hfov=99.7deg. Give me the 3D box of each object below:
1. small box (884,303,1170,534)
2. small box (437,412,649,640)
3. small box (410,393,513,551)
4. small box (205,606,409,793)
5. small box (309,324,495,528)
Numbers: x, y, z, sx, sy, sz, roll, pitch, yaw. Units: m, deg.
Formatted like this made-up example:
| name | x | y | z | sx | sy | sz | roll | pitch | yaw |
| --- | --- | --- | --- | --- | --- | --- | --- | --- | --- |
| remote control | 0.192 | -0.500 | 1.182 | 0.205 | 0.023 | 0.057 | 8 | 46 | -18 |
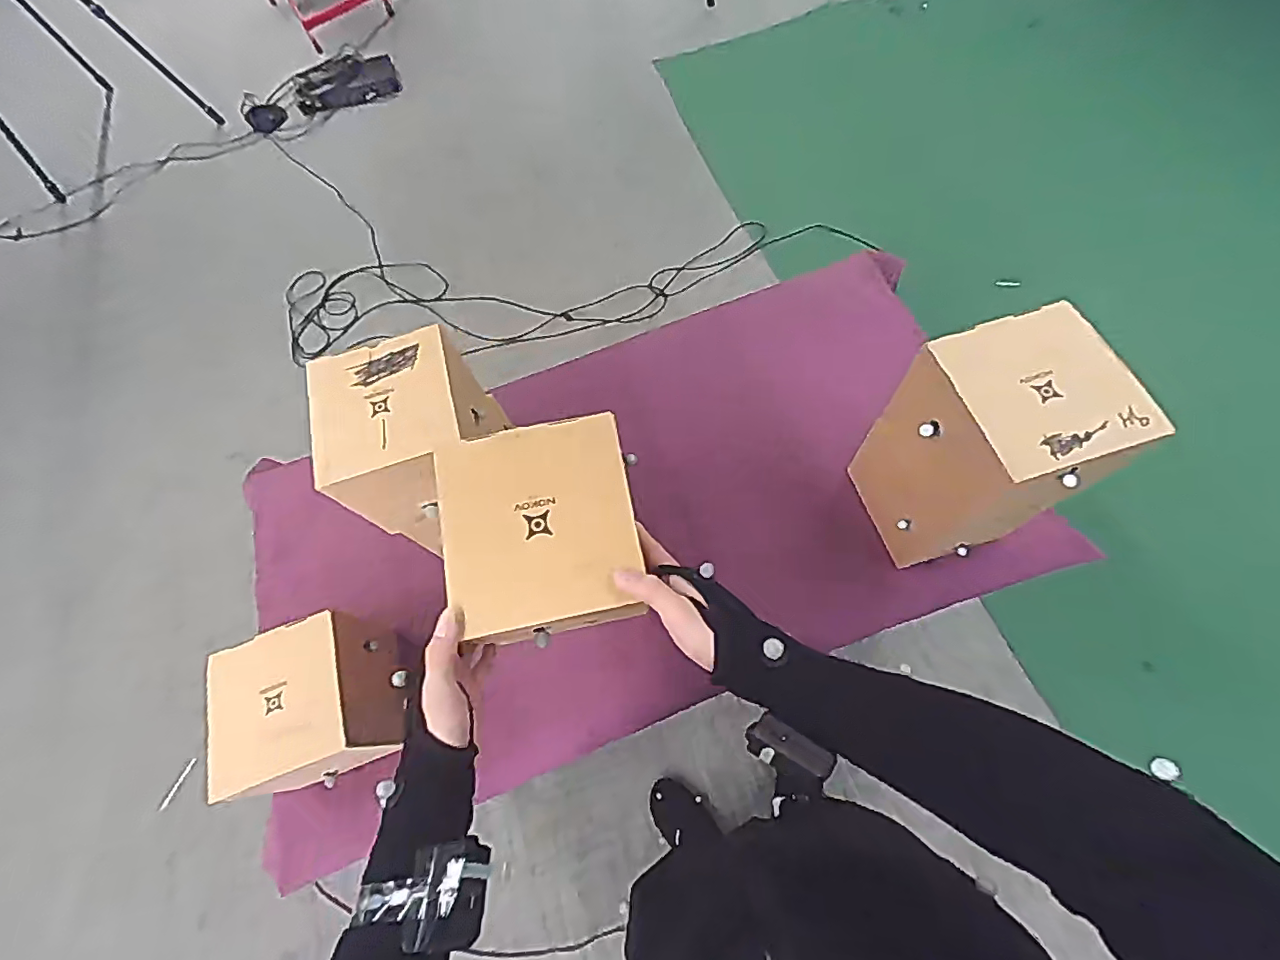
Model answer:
| name | x | y | z | sx | sy | sz | roll | pitch | yaw |
| --- | --- | --- | --- | --- | --- | --- | --- | --- | --- |
| small box | 0.408 | -0.062 | 0.615 | 0.168 | 0.176 | 0.179 | -17 | 65 | 0 |
| small box | -0.085 | 0.056 | 0.541 | 0.168 | 0.176 | 0.179 | -11 | 72 | -3 |
| small box | -0.268 | -0.003 | 0.841 | 0.168 | 0.176 | 0.179 | -16 | 67 | -1 |
| small box | -0.438 | 0.294 | 0.729 | 0.168 | 0.176 | 0.179 | -21 | 66 | -3 |
| small box | -0.287 | -0.061 | 0.688 | 0.168 | 0.176 | 0.179 | -17 | 67 | -2 |
